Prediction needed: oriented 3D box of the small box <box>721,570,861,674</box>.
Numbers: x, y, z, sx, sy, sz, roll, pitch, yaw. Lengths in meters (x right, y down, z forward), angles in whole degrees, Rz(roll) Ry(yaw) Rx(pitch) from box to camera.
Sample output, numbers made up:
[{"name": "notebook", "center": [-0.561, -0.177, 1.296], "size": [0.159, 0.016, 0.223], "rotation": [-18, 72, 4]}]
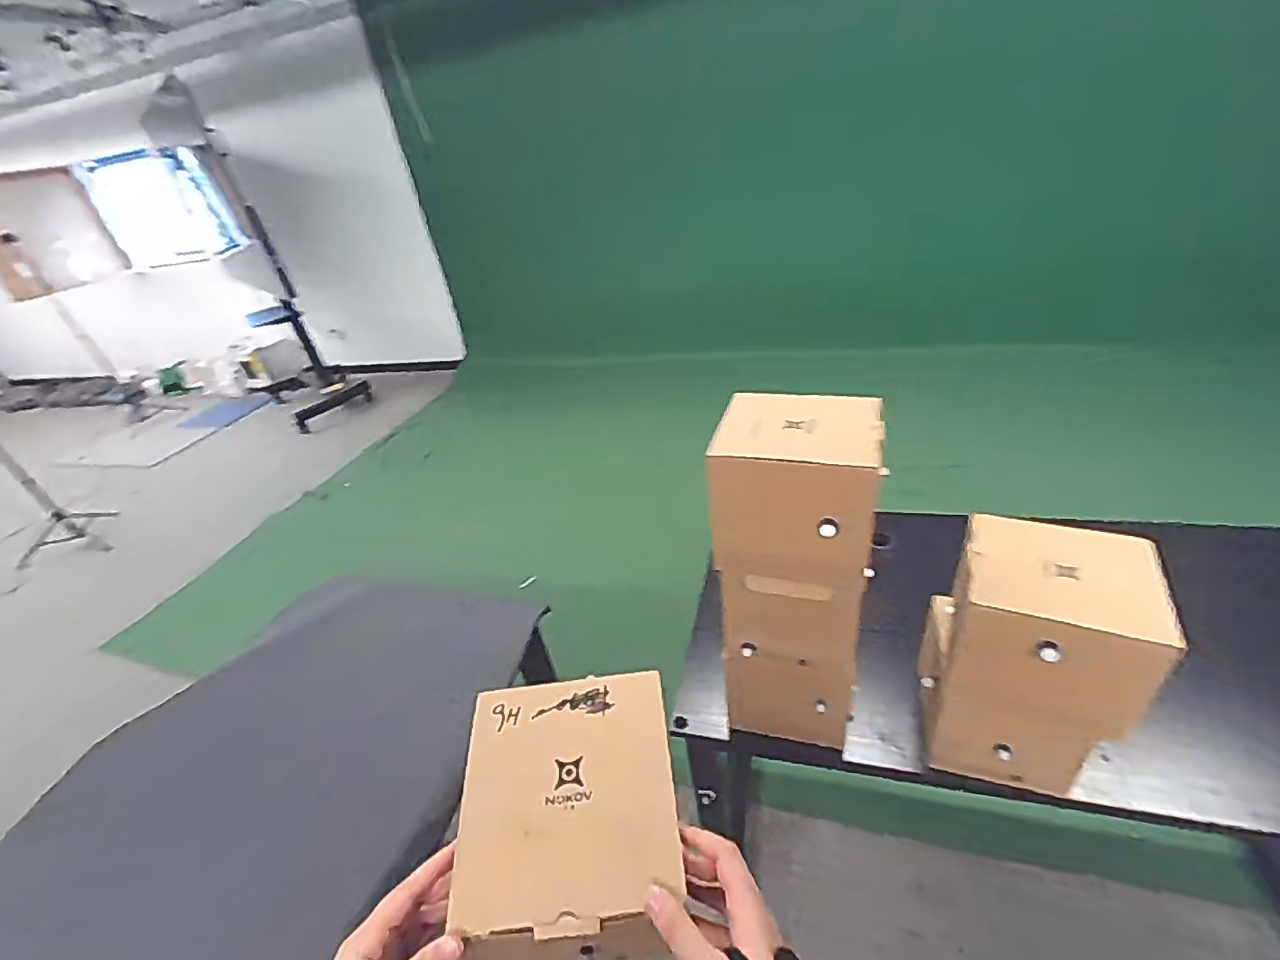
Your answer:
[{"name": "small box", "center": [0.214, 0.137, 0.745], "size": [0.168, 0.176, 0.179], "rotation": [4, 35, 20]}]

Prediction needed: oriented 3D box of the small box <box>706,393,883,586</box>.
[{"name": "small box", "center": [0.187, 0.007, 0.650], "size": [0.179, 0.176, 0.168], "rotation": [4, 34, 20]}]

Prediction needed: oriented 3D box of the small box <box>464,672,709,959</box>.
[{"name": "small box", "center": [-0.034, 0.295, 0.468], "size": [0.168, 0.176, 0.179], "rotation": [-7, 43, 0]}]

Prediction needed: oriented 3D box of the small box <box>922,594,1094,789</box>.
[{"name": "small box", "center": [0.492, 0.286, 0.743], "size": [0.168, 0.176, 0.179], "rotation": [4, 35, 20]}]

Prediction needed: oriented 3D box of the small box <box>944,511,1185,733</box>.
[{"name": "small box", "center": [0.475, 0.163, 0.635], "size": [0.179, 0.176, 0.168], "rotation": [9, 38, 27]}]
